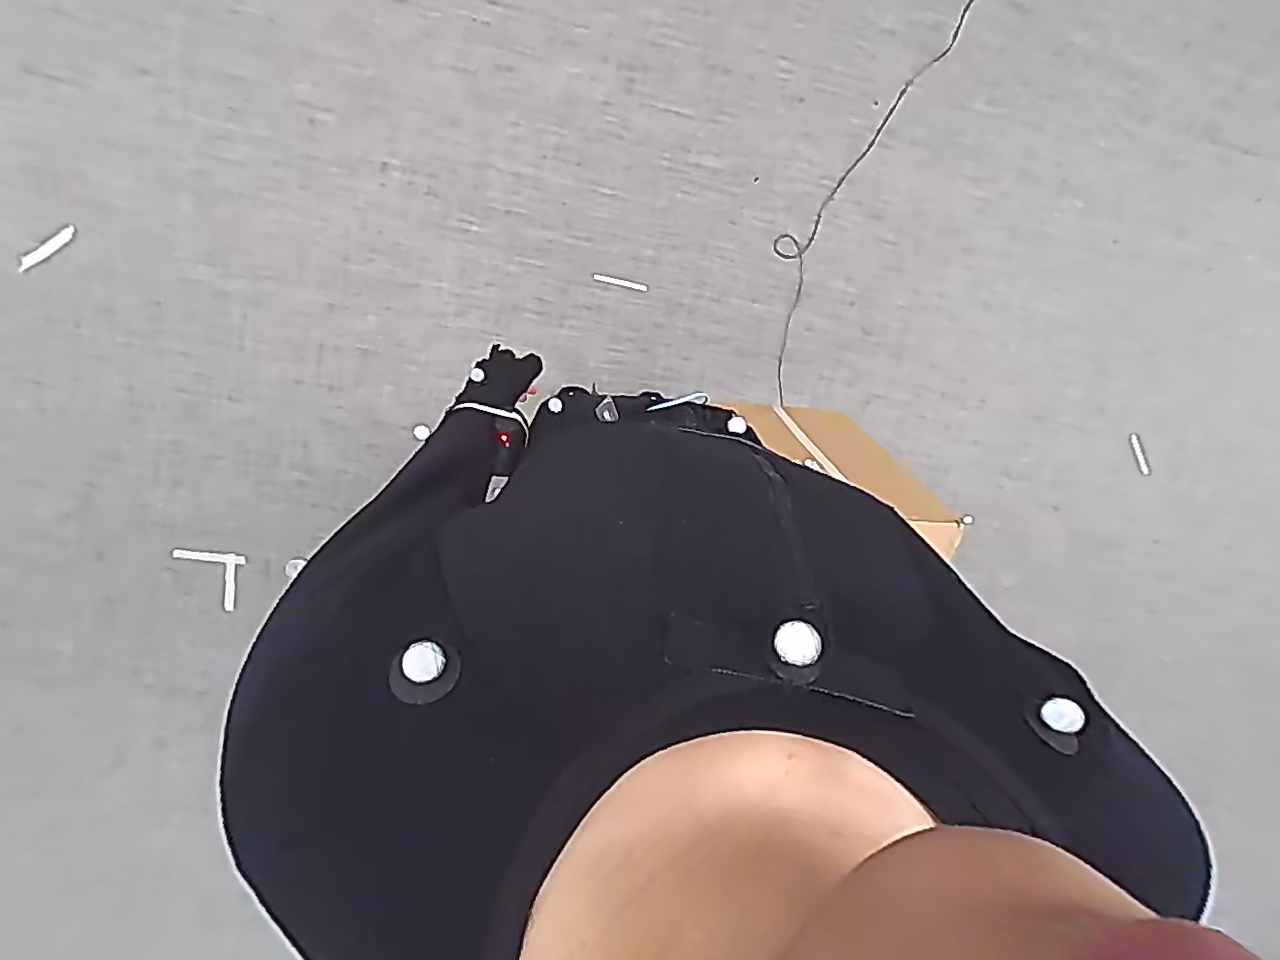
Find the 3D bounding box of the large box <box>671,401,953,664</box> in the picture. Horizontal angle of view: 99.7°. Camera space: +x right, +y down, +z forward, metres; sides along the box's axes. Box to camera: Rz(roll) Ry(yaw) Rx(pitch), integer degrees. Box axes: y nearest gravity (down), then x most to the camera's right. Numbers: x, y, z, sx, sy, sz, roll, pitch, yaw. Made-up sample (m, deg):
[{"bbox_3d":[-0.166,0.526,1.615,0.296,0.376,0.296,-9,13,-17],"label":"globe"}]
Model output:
[{"bbox_3d":[0.266,0.081,1.013,0.320,0.408,0.320,2,121,-11],"label":"large box"}]
